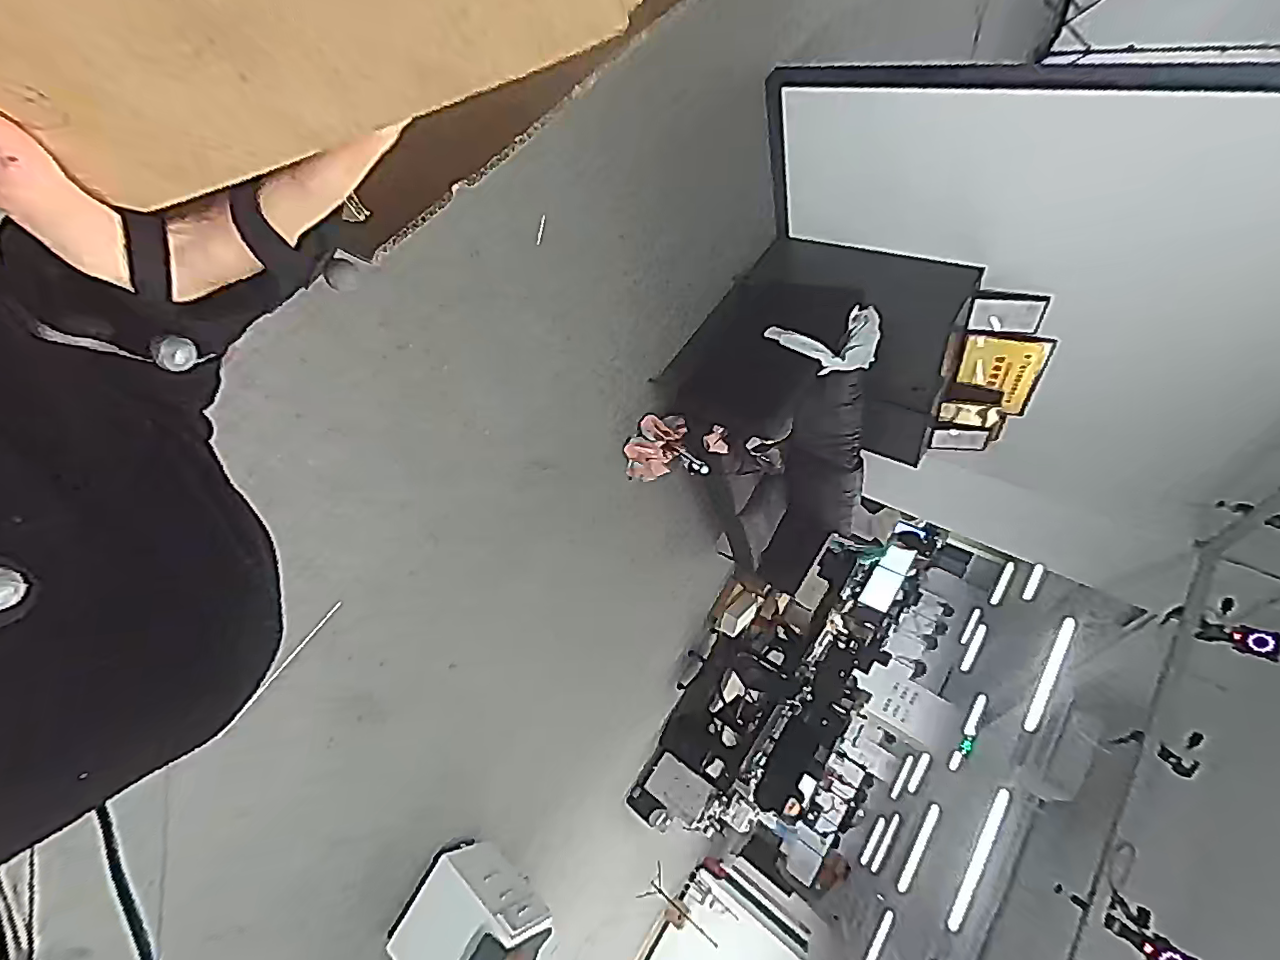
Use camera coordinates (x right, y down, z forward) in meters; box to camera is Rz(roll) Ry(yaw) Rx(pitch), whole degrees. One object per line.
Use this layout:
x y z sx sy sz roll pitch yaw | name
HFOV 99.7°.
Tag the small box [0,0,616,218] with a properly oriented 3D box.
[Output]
-0.115 -0.173 0.072 0.168 0.179 0.176 11 78 -67 | small box
